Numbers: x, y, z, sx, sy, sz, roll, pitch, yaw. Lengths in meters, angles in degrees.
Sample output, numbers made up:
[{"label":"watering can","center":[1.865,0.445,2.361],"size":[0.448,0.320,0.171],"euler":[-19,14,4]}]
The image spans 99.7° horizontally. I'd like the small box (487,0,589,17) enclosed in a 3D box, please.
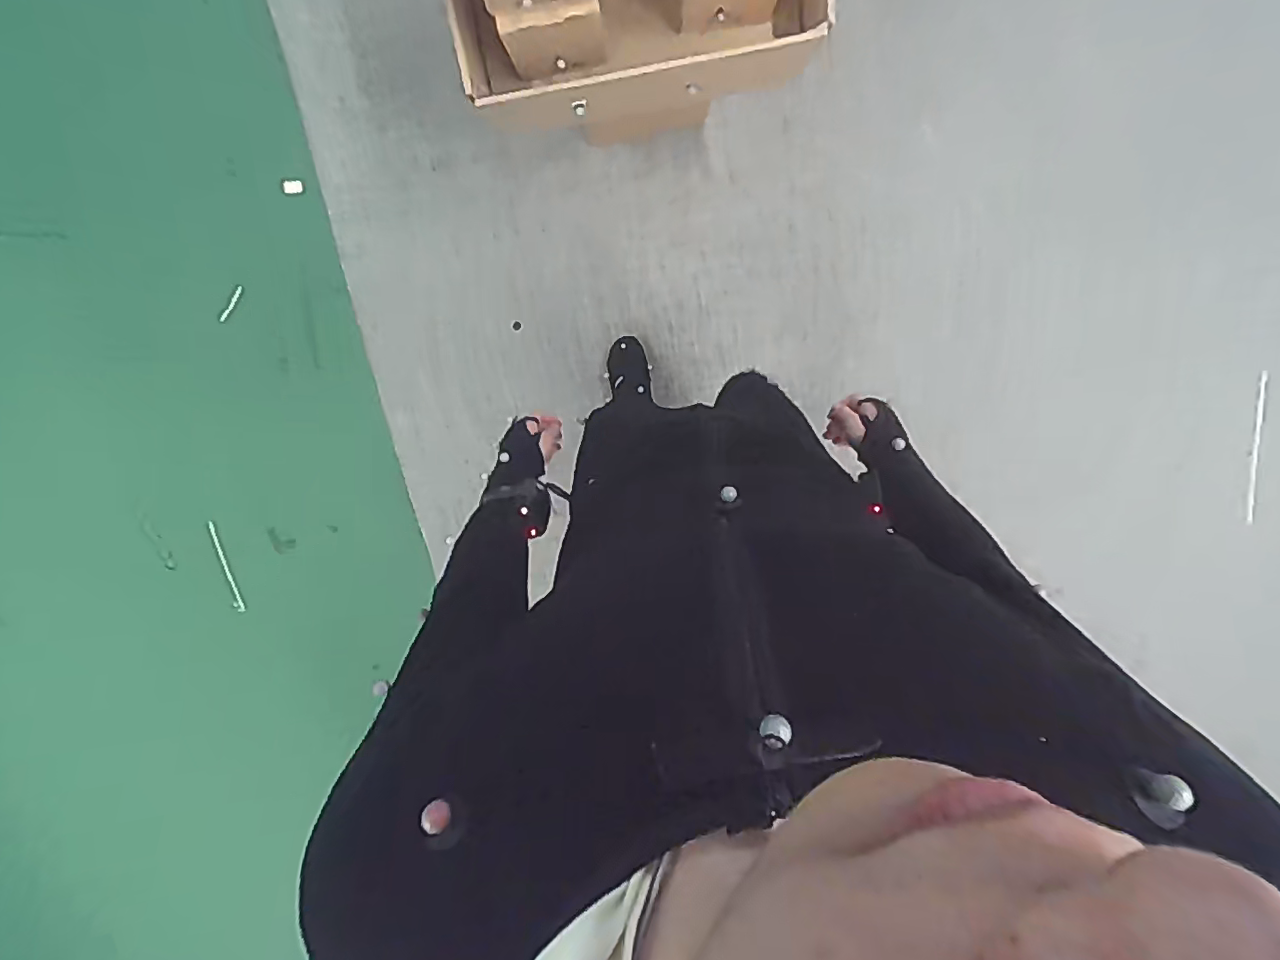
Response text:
[{"label":"small box","center":[-0.165,-0.796,0.745],"size":[0.168,0.176,0.179],"euler":[-6,104,3]}]
